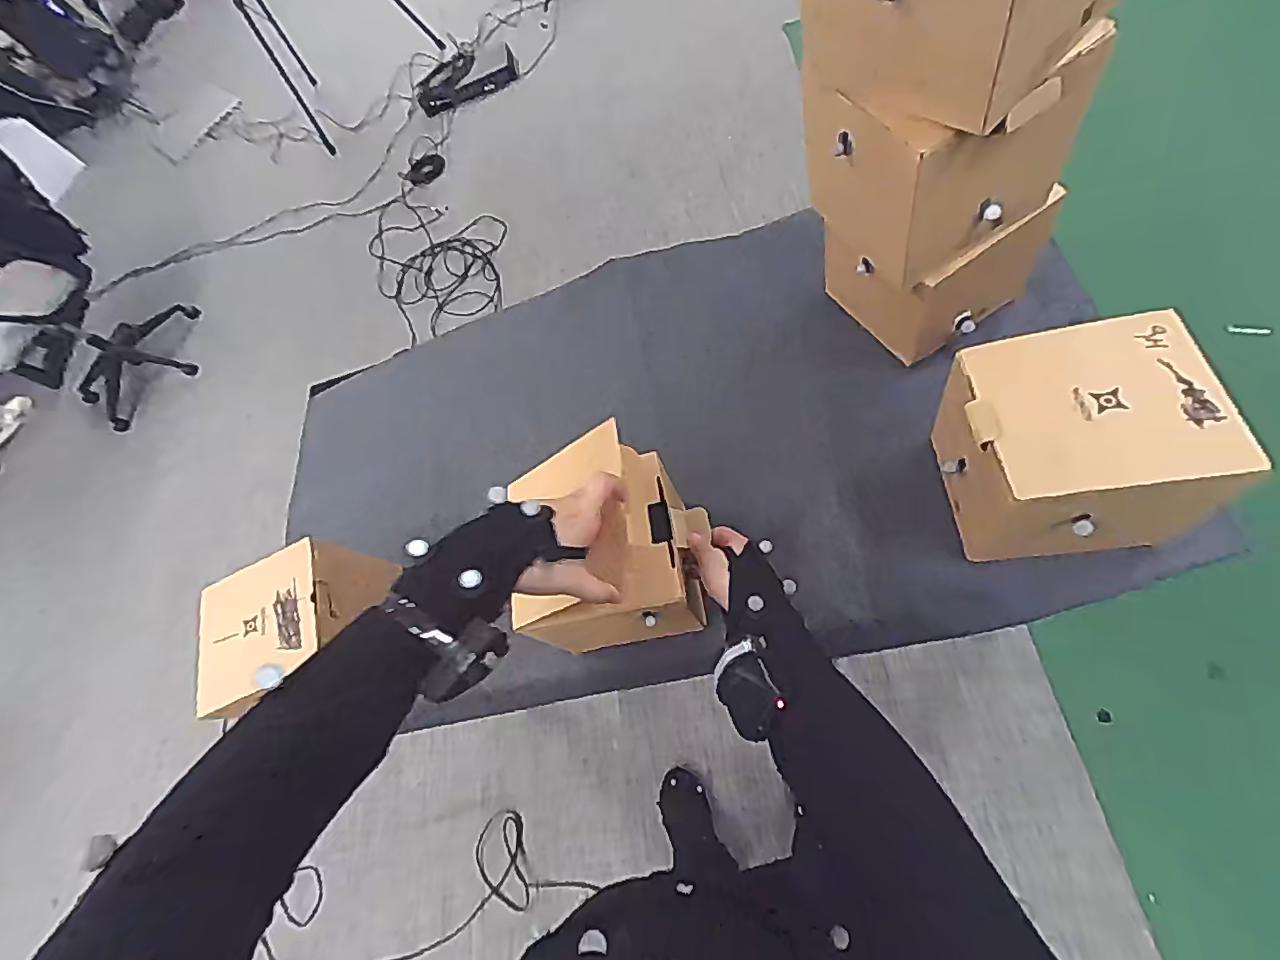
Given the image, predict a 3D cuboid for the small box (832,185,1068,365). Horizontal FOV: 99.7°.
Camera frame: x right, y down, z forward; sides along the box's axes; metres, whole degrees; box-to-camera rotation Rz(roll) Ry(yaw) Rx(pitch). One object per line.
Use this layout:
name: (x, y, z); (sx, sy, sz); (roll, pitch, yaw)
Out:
small box: (0.351, -0.275, 0.660); (0.168, 0.176, 0.179); (-35, 63, 5)

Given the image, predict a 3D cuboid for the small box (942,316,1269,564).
small box: (0.413, -0.025, 0.528); (0.179, 0.176, 0.168); (-9, 62, 16)

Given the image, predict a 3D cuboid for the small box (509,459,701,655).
small box: (-0.036, 0.099, 0.630); (0.179, 0.176, 0.168); (-12, 63, 8)

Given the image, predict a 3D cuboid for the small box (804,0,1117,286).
small box: (0.278, -0.327, 0.519); (0.168, 0.176, 0.179); (-32, 62, 8)

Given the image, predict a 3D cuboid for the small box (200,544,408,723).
small box: (-0.432, 0.207, 0.720); (0.179, 0.176, 0.168); (-25, 63, 8)
